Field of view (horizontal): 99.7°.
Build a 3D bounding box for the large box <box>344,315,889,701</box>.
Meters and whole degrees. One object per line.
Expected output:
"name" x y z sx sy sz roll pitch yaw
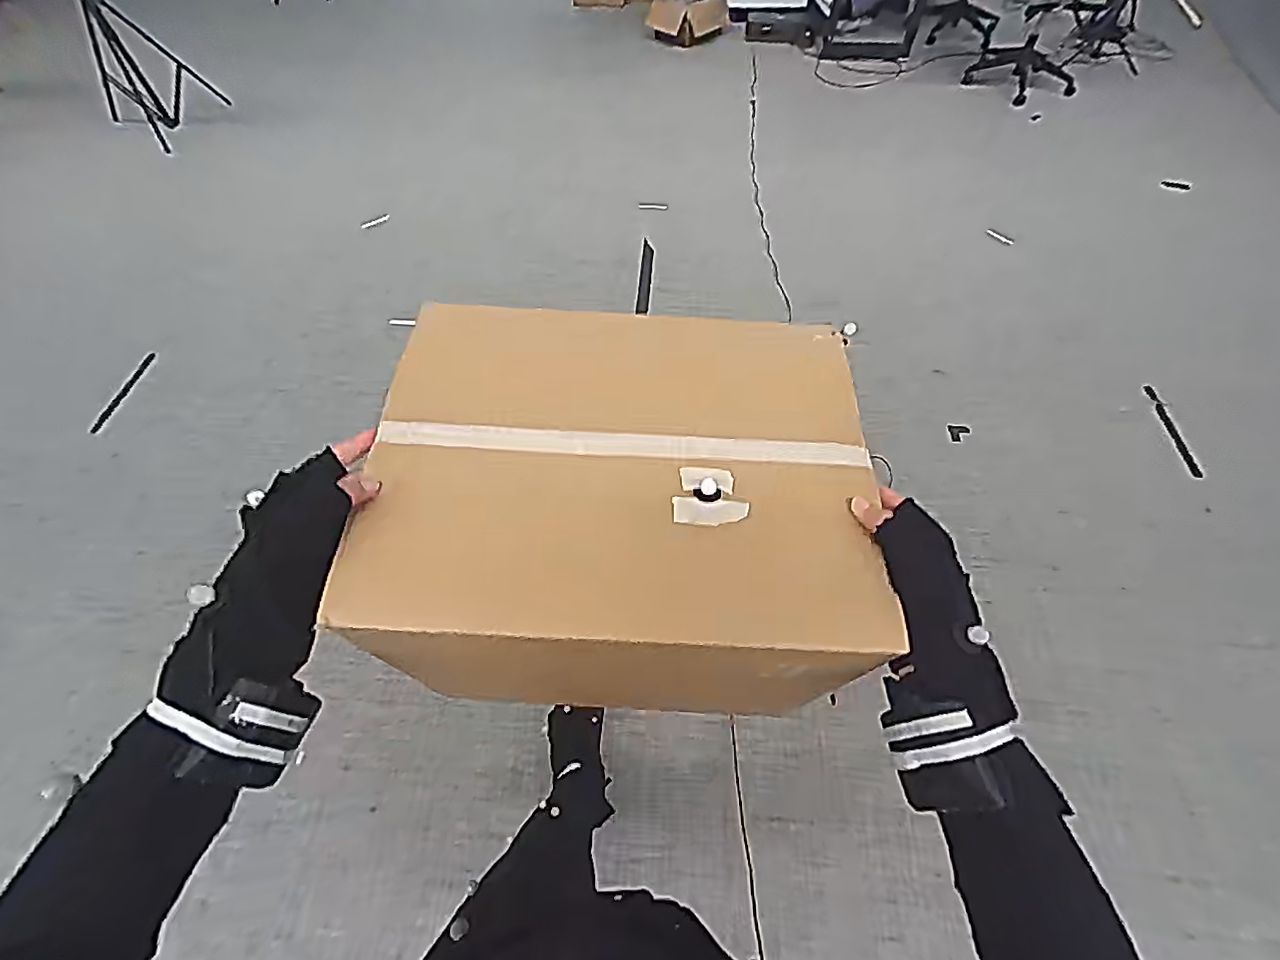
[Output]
"large box" -0.019 0.050 0.591 0.408 0.320 0.320 3 59 -1
